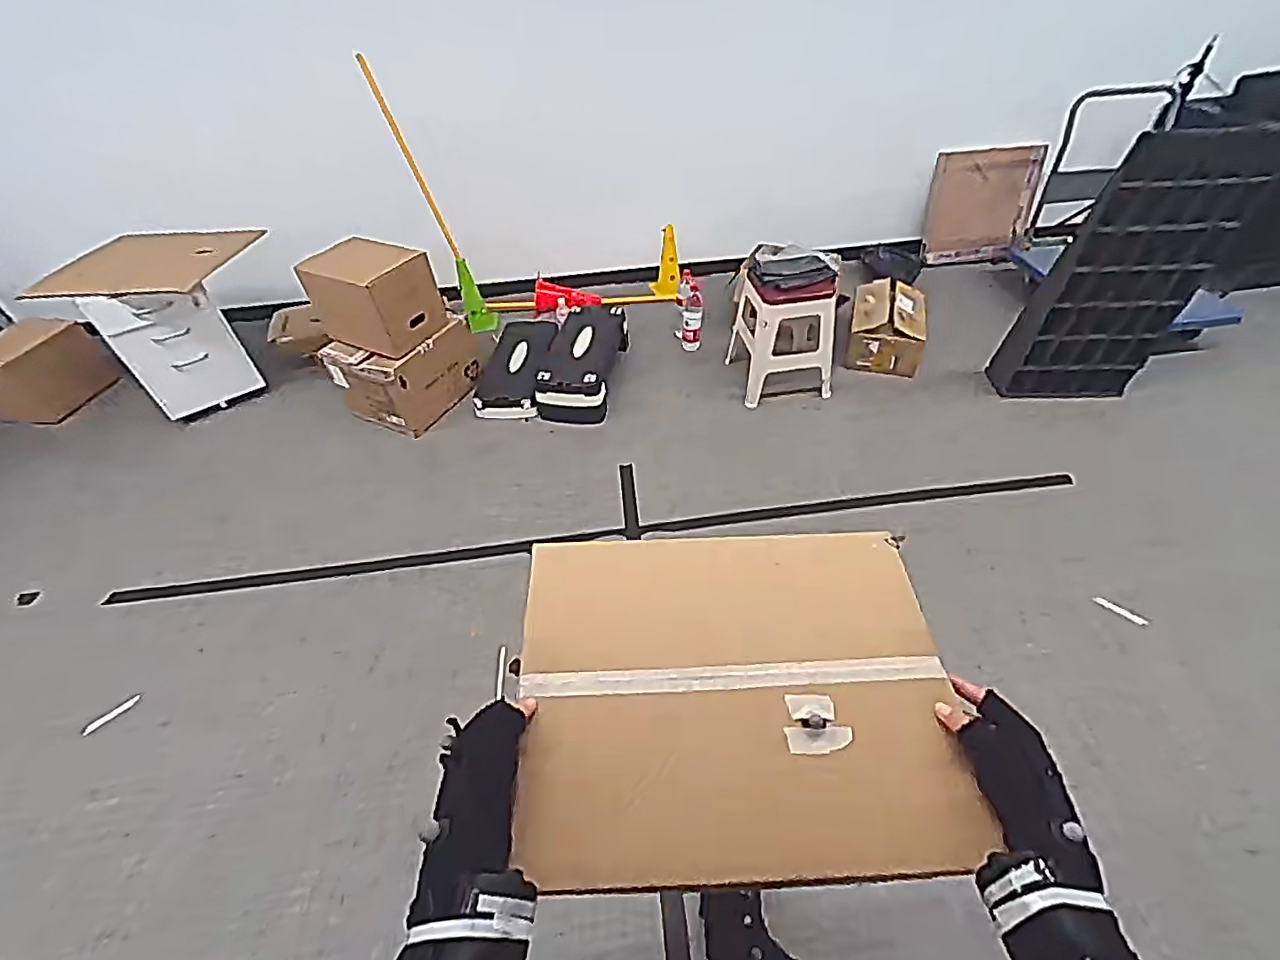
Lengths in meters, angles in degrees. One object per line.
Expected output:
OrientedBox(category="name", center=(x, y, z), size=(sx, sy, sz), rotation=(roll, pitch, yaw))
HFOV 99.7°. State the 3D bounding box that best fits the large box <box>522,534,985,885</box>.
OrientedBox(category="large box", center=(0.089, 0.285, 0.659), size=(0.408, 0.320, 0.320), rotation=(-2, 53, -2))
